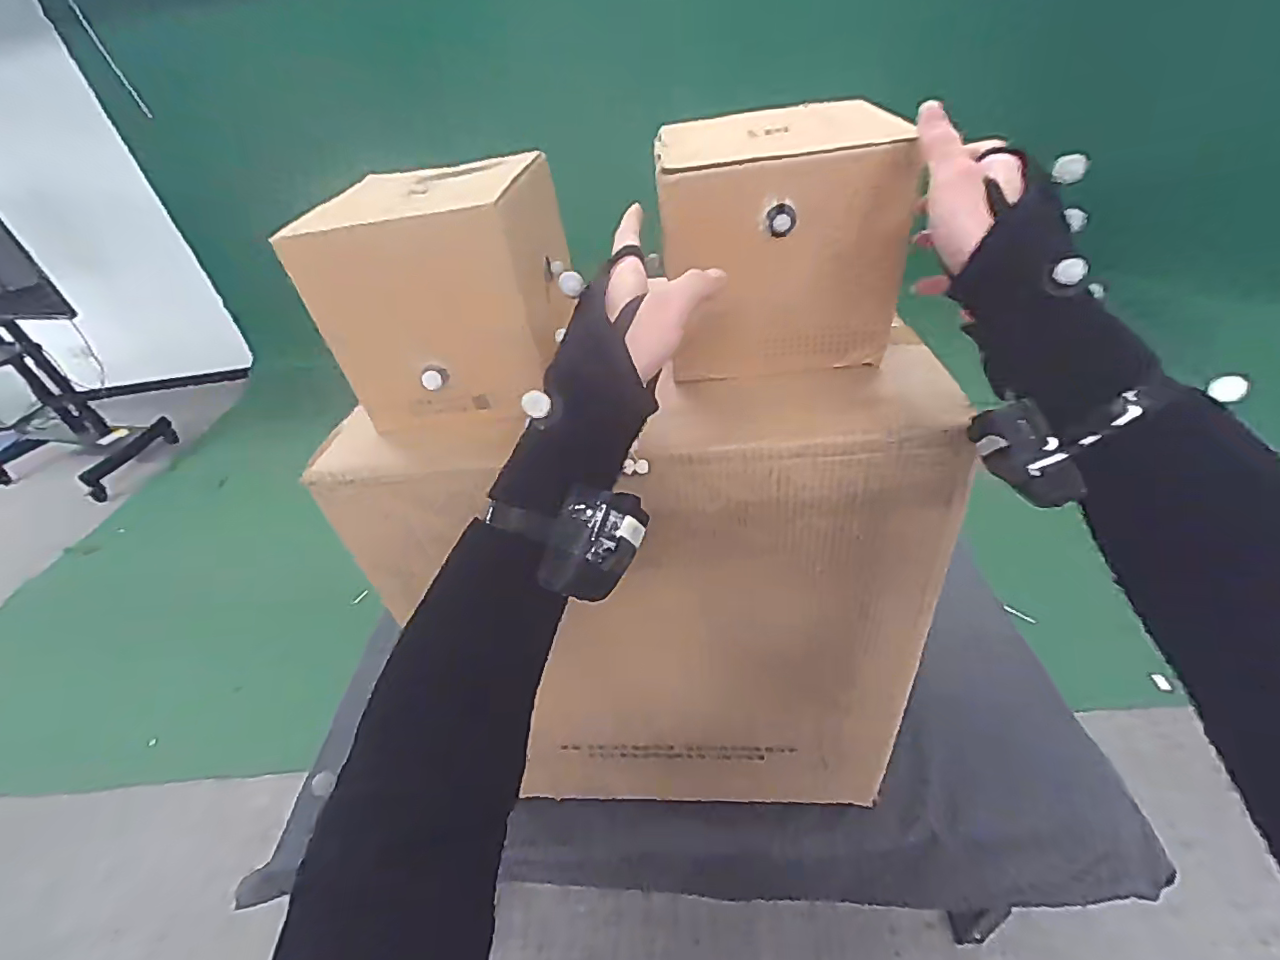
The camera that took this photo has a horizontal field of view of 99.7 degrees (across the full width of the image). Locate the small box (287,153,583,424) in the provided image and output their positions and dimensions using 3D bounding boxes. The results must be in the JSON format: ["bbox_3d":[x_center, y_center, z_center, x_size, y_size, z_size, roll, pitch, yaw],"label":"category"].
[{"bbox_3d":[-0.153,-0.170,0.481,0.168,0.176,0.179,-5,40,8],"label":"small box"}]

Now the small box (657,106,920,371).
[{"bbox_3d":[0.110,-0.206,0.471,0.179,0.176,0.168,-3,42,5],"label":"small box"}]
